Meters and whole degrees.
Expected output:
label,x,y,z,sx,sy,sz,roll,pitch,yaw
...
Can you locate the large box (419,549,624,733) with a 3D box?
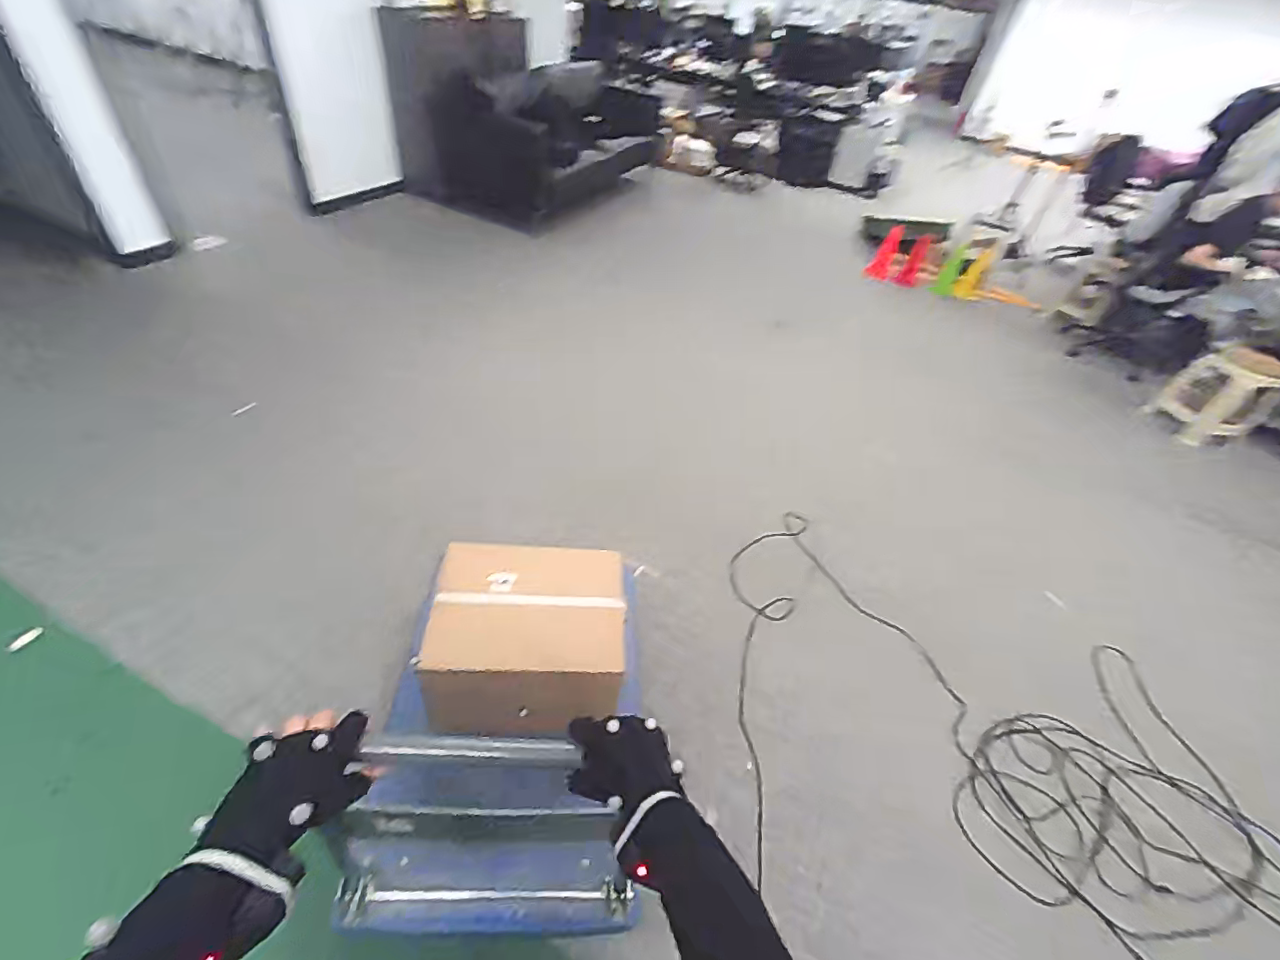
label,x,y,z,sx,sy,sz,roll,pitch,yaw
large box,-0.256,0.381,1.272,0.408,0.320,0.320,3,43,-7
